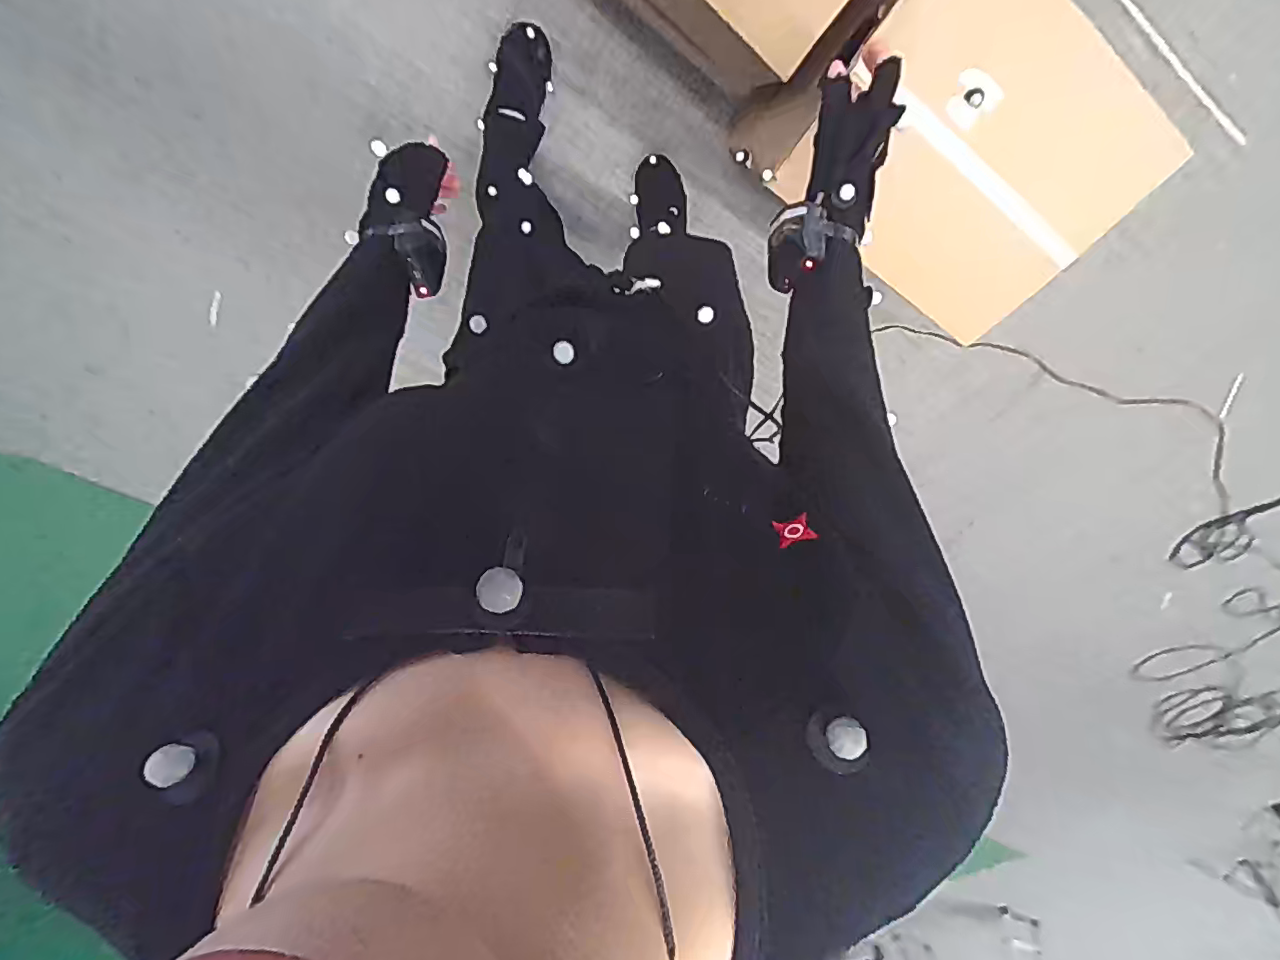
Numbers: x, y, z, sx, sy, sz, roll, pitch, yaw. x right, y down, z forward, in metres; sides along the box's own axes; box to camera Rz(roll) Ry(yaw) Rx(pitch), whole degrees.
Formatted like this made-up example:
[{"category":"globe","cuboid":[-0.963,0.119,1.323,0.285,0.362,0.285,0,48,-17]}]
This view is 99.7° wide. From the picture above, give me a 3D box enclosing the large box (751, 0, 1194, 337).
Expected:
[{"category":"large box","cuboid":[0.417,-0.486,0.773,0.408,0.320,0.320,29,127,-17]}]
